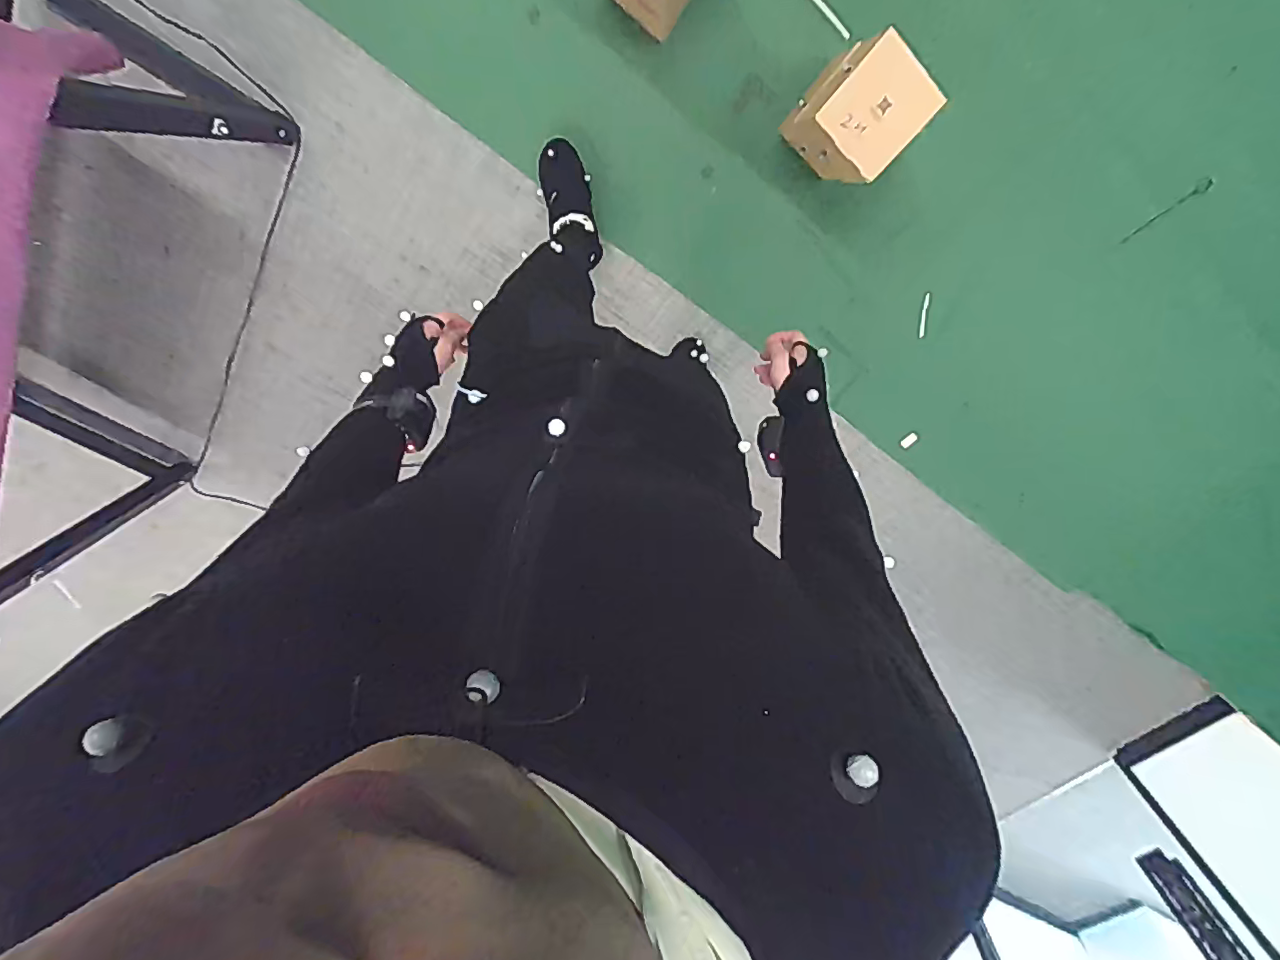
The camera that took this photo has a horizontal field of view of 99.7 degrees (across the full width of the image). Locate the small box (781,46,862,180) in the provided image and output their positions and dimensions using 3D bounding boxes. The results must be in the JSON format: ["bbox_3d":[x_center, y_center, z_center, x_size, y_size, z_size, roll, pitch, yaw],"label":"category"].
[{"bbox_3d":[0.436,-0.793,1.186,0.168,0.176,0.179,35,115,-18],"label":"small box"}]

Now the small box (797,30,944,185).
[{"bbox_3d":[0.433,-0.707,1.046,0.168,0.176,0.179,37,114,-18],"label":"small box"}]
